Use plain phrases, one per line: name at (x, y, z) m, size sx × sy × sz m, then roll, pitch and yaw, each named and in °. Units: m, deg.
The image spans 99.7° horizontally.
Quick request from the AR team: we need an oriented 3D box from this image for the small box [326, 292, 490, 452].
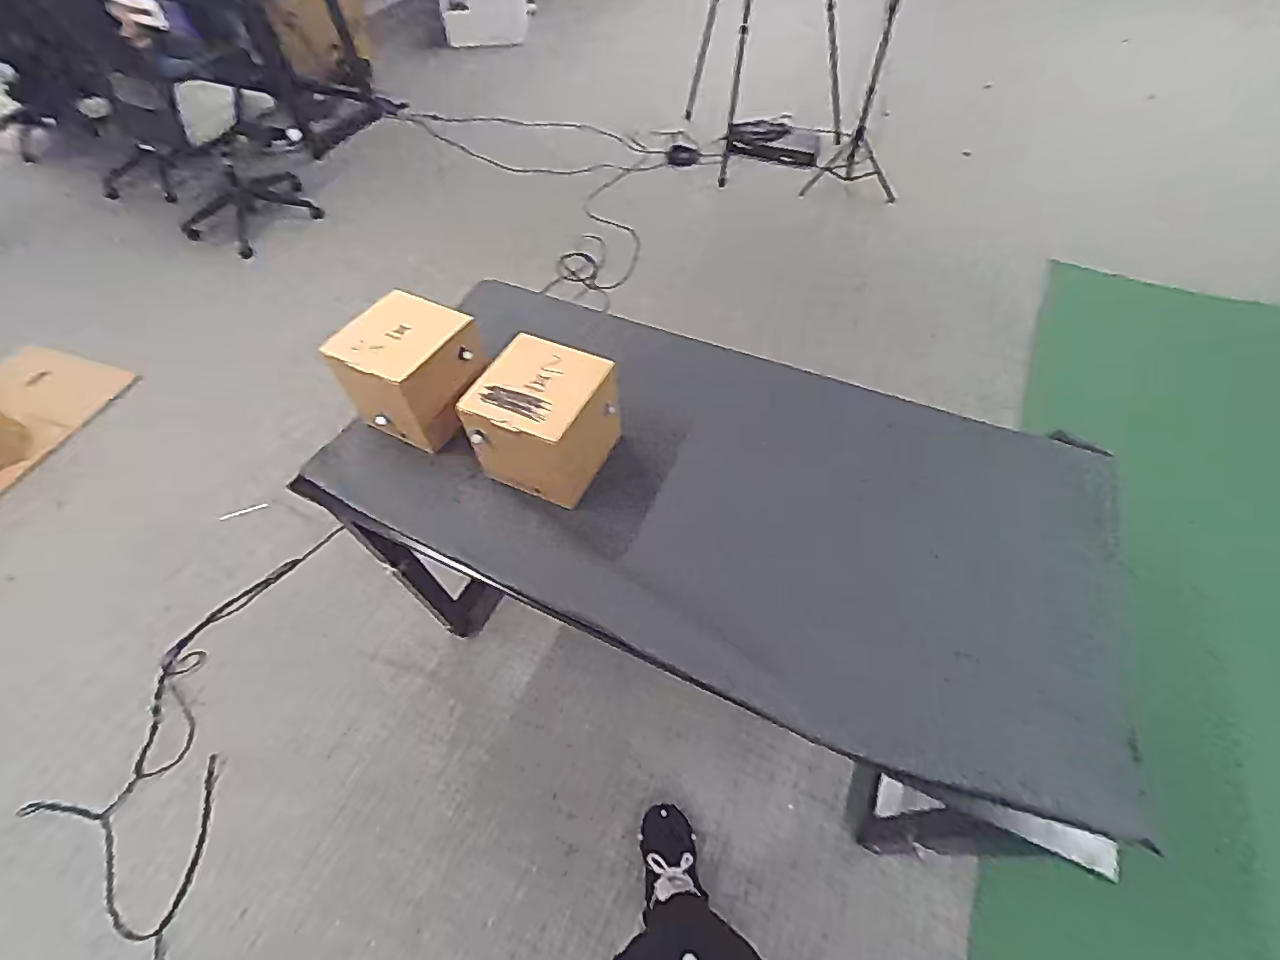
small box at (-0.375, -0.181, 0.917) m, size 0.168 × 0.176 × 0.179 m, roll 23°, pitch 58°, yaw 17°
